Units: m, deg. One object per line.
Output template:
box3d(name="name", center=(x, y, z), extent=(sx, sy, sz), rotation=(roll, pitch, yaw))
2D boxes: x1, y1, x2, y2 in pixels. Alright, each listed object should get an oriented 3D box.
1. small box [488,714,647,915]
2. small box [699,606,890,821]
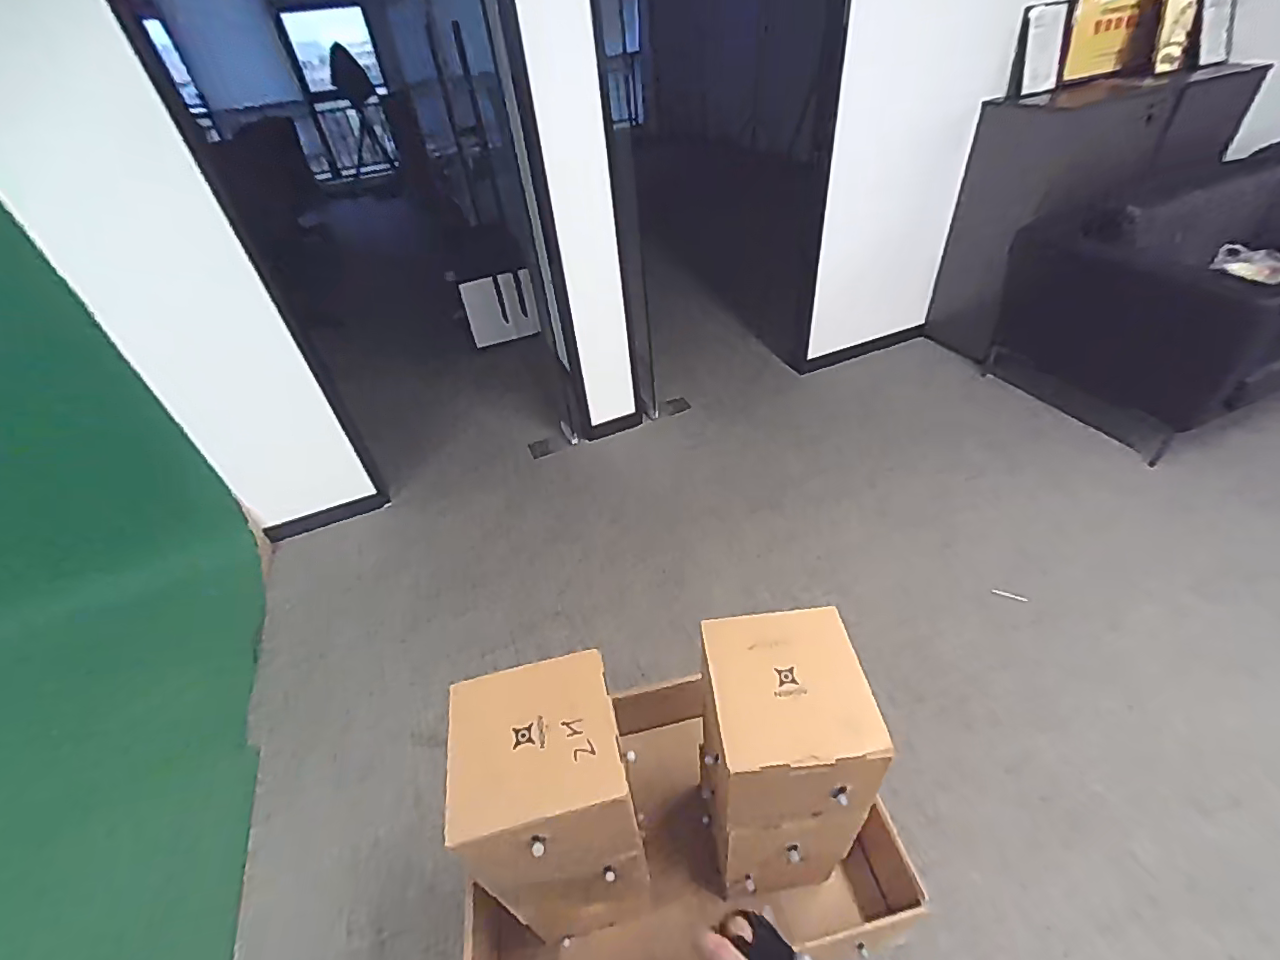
box3d(name="small box", center=(-0.095, 0.451, 0.727), extent=(0.179, 0.176, 0.168), rotation=(-11, 41, -6))
box3d(name="small box", center=(0.165, 0.277, 0.633), extent=(0.168, 0.176, 0.179), rotation=(-7, 40, 1))
